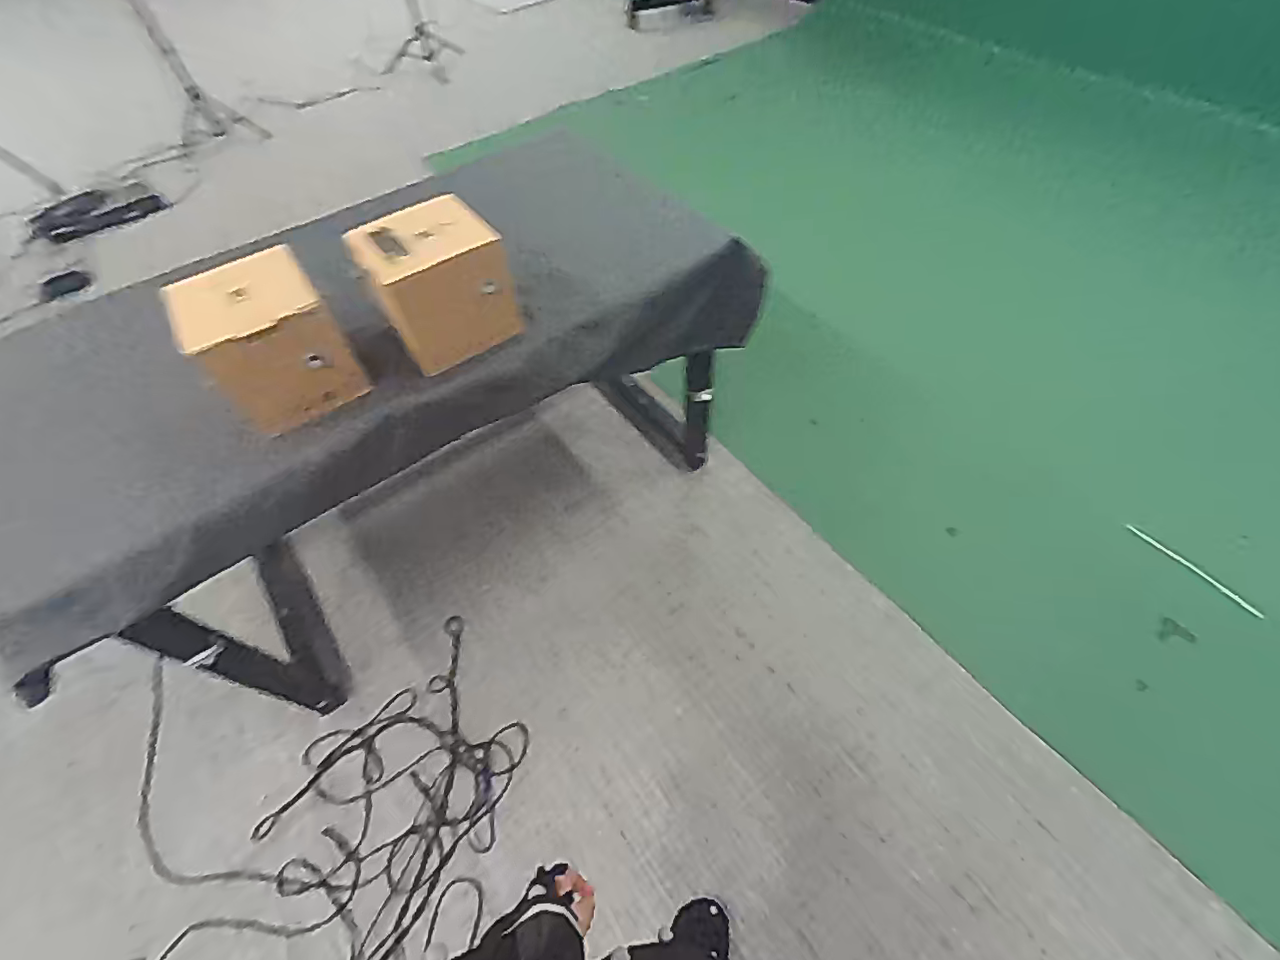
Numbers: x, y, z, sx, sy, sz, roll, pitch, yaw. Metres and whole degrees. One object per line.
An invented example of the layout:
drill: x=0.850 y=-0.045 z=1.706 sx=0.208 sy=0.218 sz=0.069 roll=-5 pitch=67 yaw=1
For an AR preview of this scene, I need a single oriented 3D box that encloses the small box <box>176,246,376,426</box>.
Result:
small box: x=-0.519 y=-0.201 z=0.791 sx=0.168 sy=0.176 sz=0.179 roll=-31 pitch=58 yaw=-18
